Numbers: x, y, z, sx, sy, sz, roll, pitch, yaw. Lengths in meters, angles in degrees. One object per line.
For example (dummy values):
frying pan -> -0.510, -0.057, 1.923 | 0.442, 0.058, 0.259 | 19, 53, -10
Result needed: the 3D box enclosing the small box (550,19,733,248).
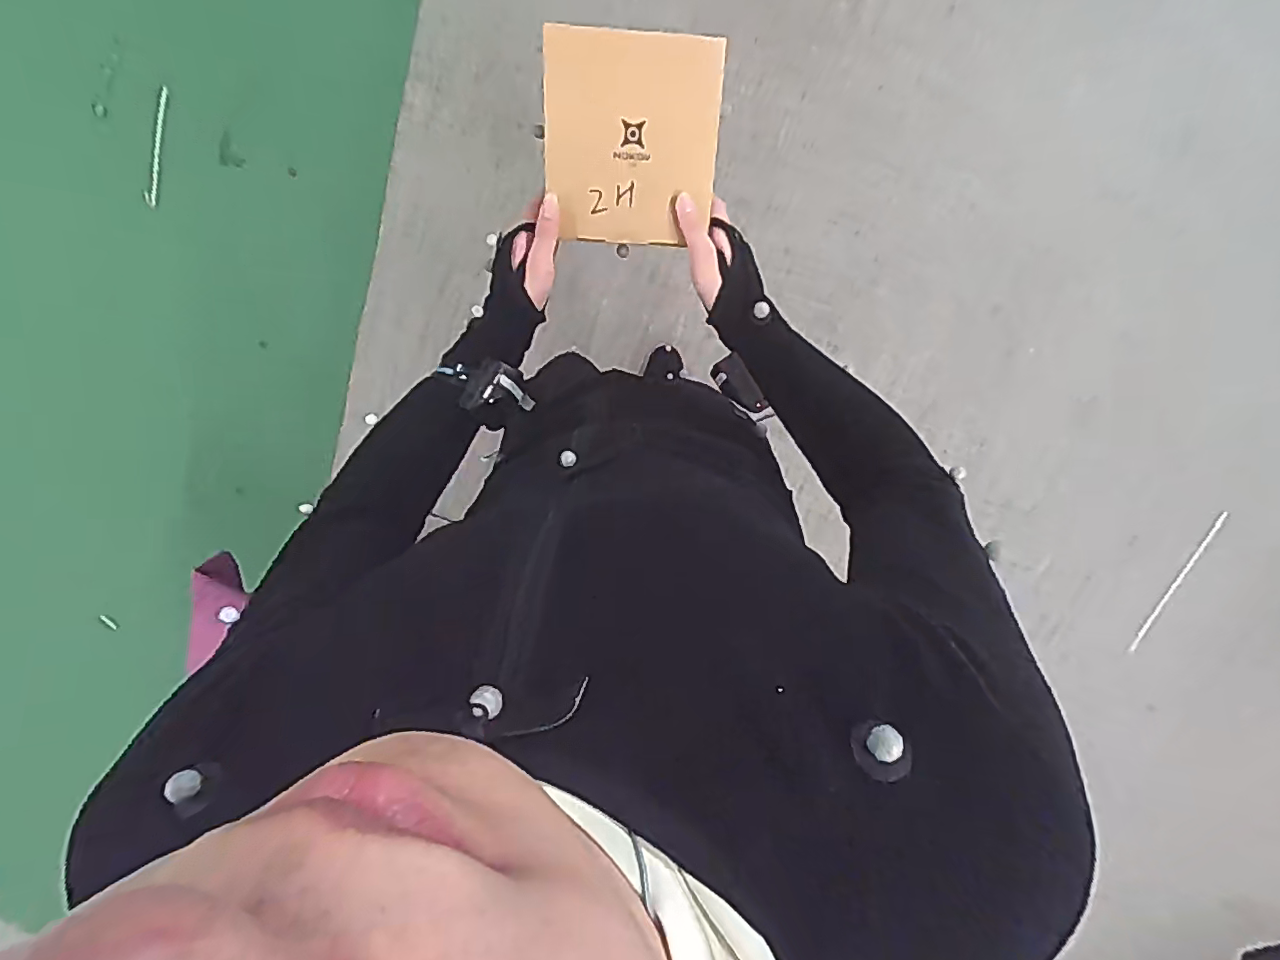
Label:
small box -> -0.007, -0.353, 0.585 | 0.168, 0.176, 0.179 | 3, 114, -4
